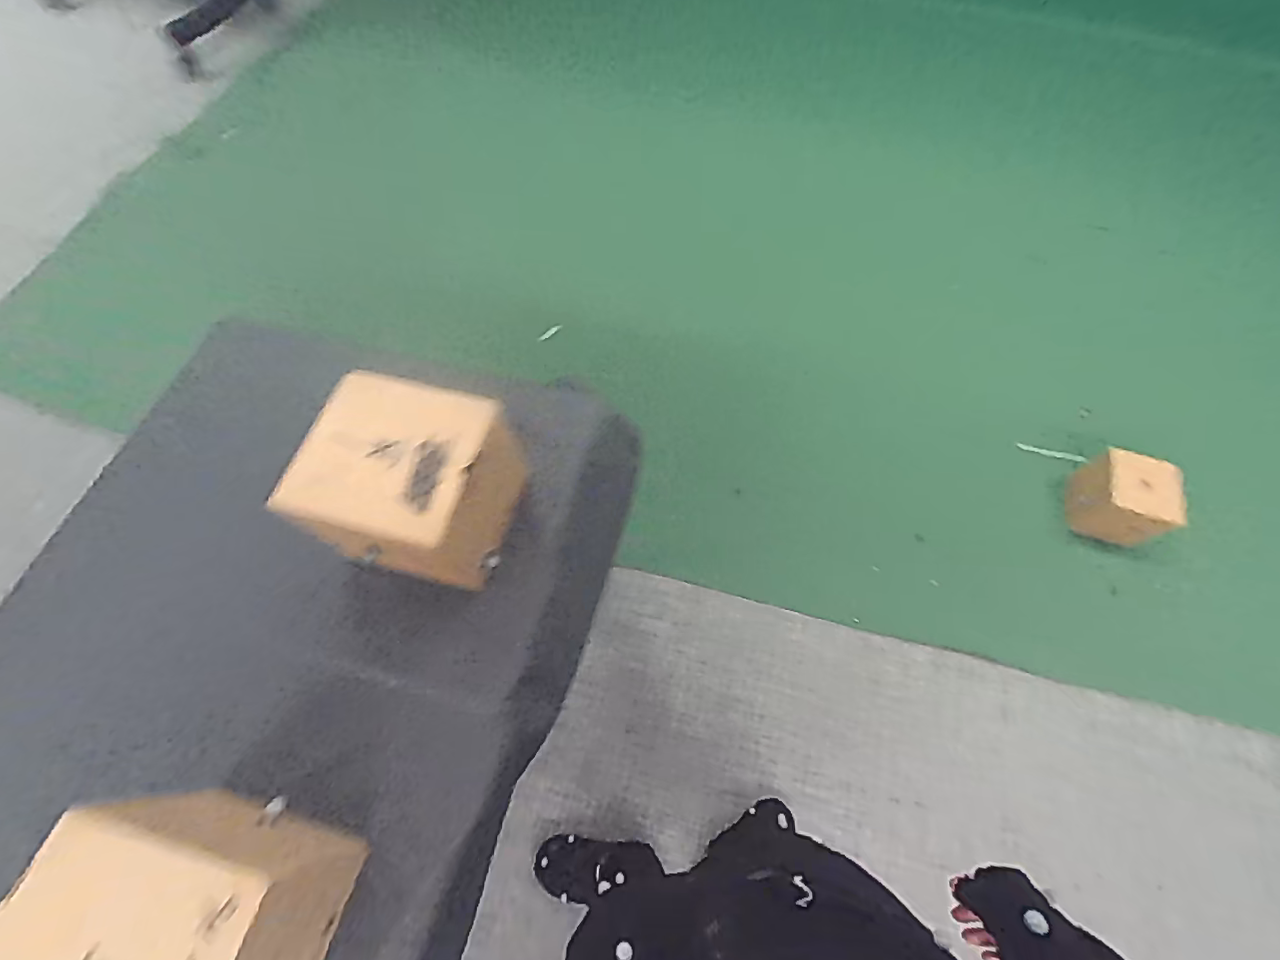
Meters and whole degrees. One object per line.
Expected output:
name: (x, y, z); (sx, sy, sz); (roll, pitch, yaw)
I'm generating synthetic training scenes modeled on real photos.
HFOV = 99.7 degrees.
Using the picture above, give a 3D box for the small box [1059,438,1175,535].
small box: (1.251, 0.024, 1.429); (0.168, 0.176, 0.179); (21, 66, 5)

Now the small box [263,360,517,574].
small box: (-0.256, -0.004, 0.610); (0.179, 0.176, 0.168); (14, 66, 6)
